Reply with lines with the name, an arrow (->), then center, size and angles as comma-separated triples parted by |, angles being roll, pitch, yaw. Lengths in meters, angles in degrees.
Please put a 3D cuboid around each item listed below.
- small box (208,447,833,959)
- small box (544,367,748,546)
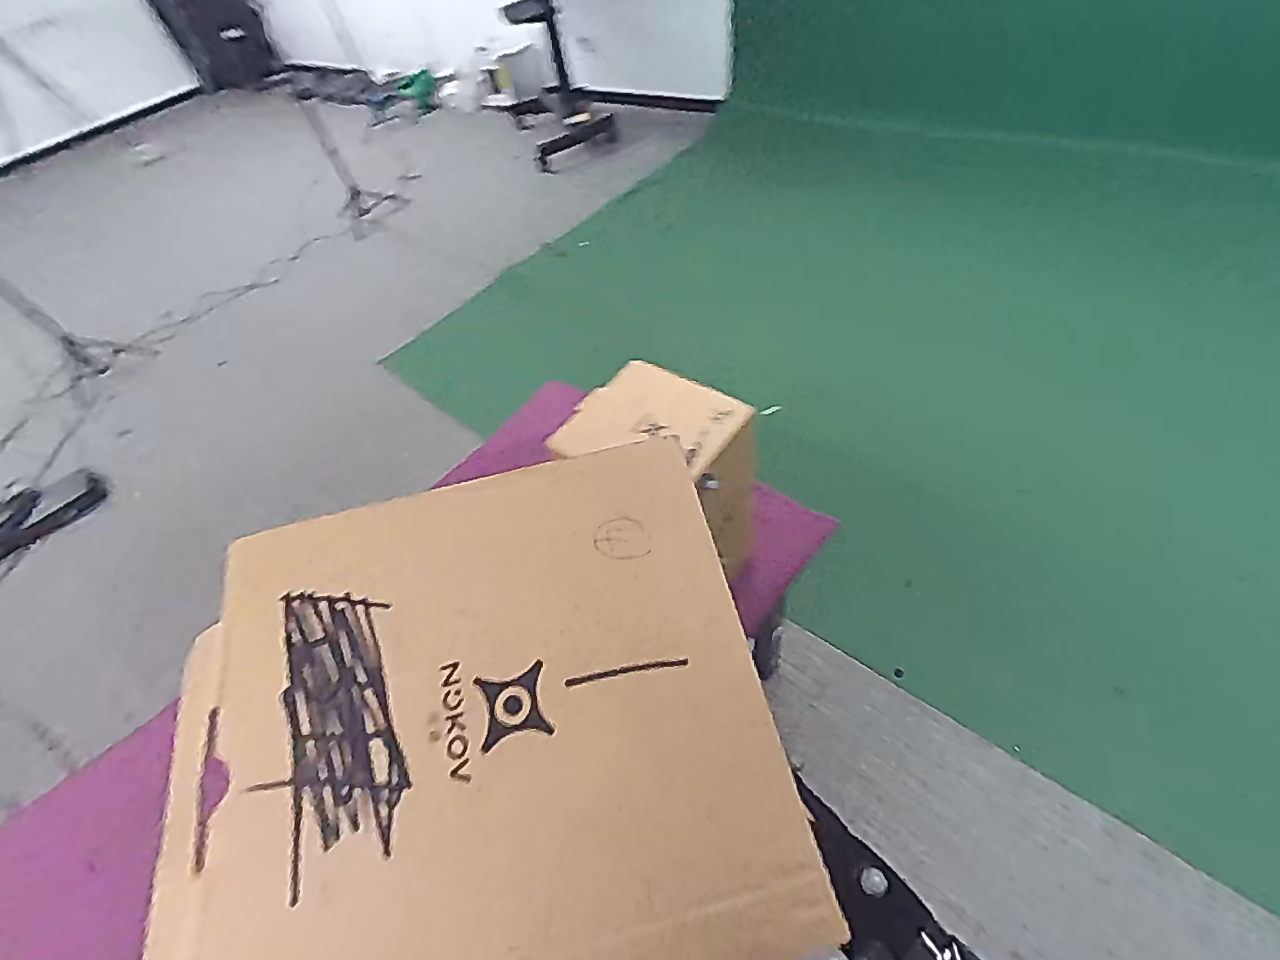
small box -> -0.043, 0.112, 0.247 | 0.179, 0.176, 0.168 | -14, 64, -4
small box -> 0.017, -0.006, 0.672 | 0.179, 0.176, 0.168 | 27, 64, 30
